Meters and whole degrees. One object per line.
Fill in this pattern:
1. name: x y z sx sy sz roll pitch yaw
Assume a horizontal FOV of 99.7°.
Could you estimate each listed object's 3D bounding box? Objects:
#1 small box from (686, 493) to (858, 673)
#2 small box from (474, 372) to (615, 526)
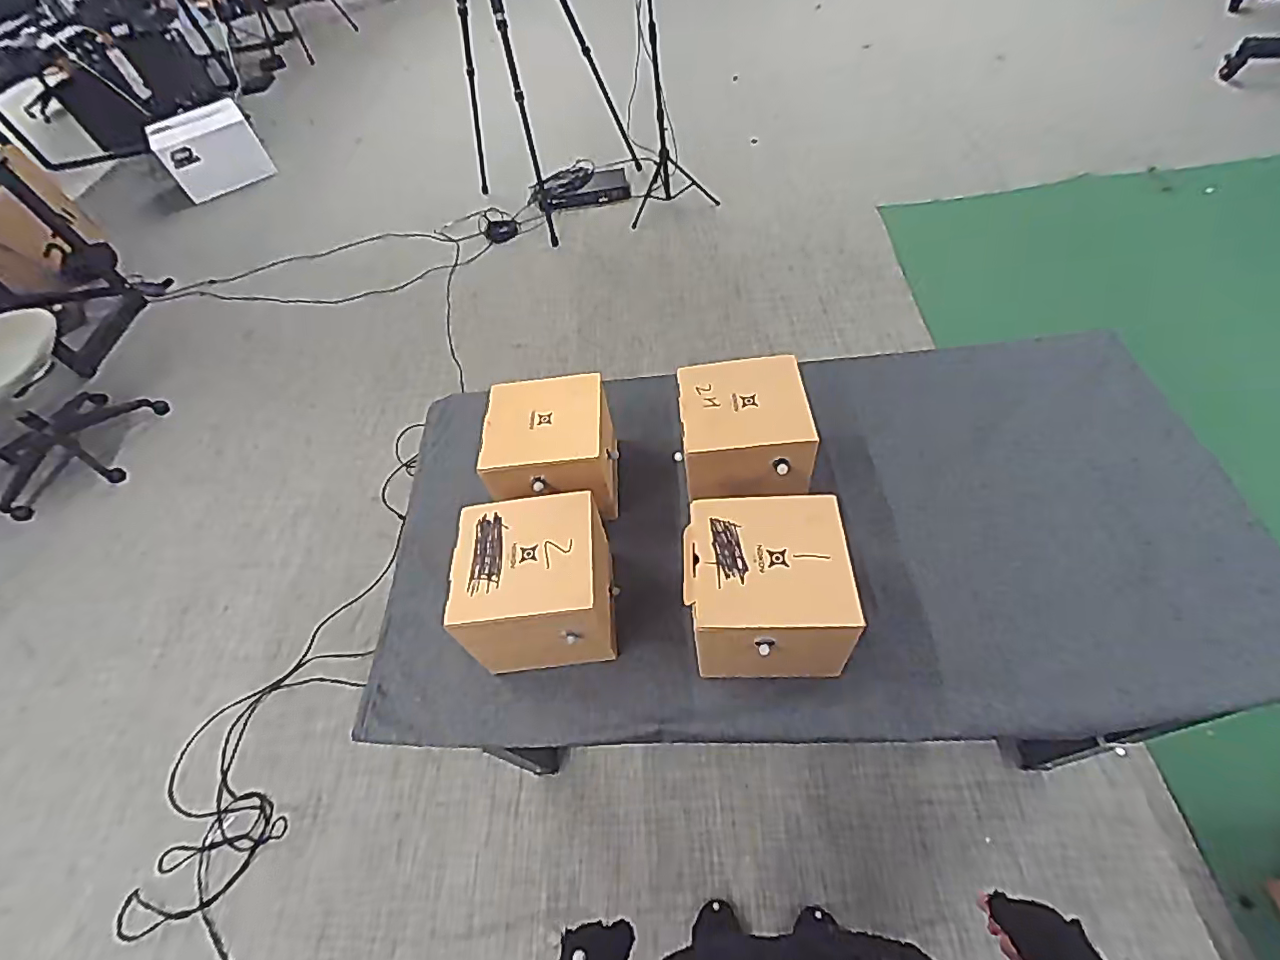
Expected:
1. small box: 0.151 0.133 0.668 0.179 0.176 0.168 -3 54 7
2. small box: -0.136 -0.042 0.846 0.179 0.176 0.168 -7 55 5
